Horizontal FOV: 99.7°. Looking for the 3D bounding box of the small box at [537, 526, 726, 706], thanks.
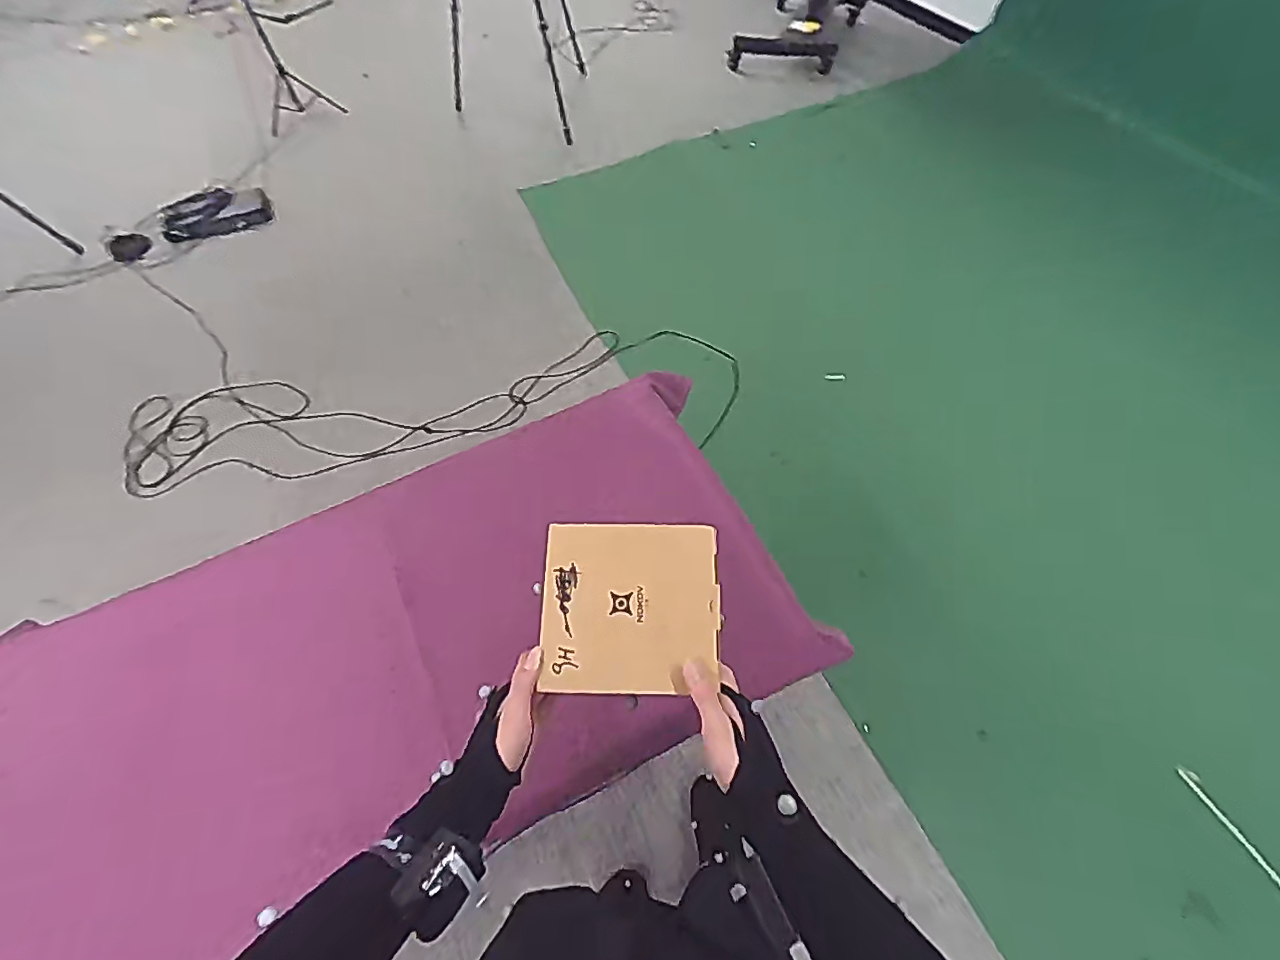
[{"bbox_3d":[-0.006,0.155,0.599,0.179,0.176,0.168,2,68,1],"label":"small box"}]
